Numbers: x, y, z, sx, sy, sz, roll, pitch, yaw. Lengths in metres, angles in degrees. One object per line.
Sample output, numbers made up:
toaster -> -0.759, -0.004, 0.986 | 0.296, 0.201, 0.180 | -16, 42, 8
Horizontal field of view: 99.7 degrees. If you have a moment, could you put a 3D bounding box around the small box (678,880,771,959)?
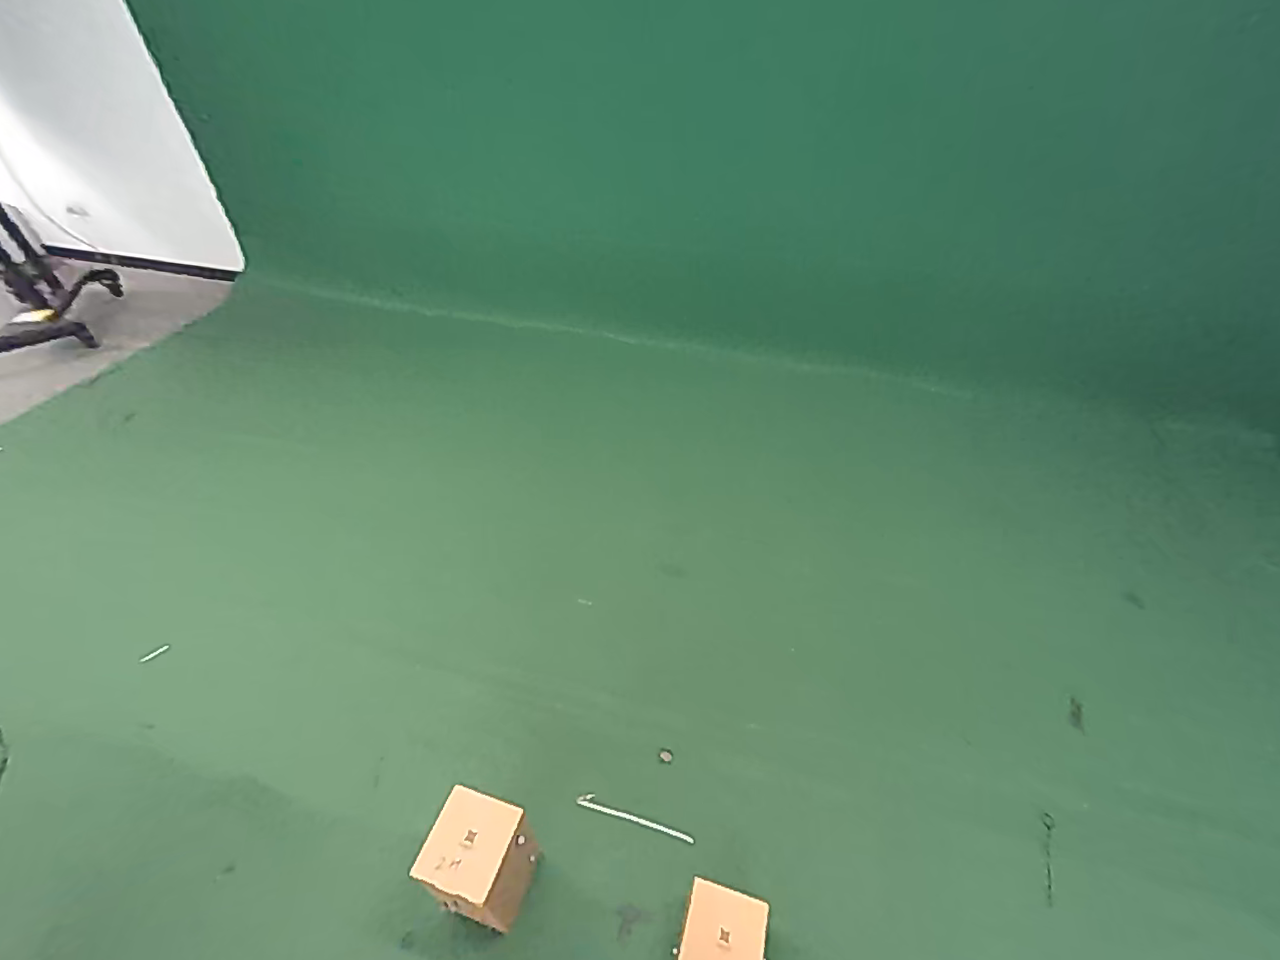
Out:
small box -> 0.177, 1.012, 1.170 | 0.168, 0.176, 0.179 | 13, 45, 12

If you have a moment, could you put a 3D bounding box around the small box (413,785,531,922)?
small box -> -0.344, 0.793, 1.149 | 0.168, 0.176, 0.179 | 13, 44, 13
